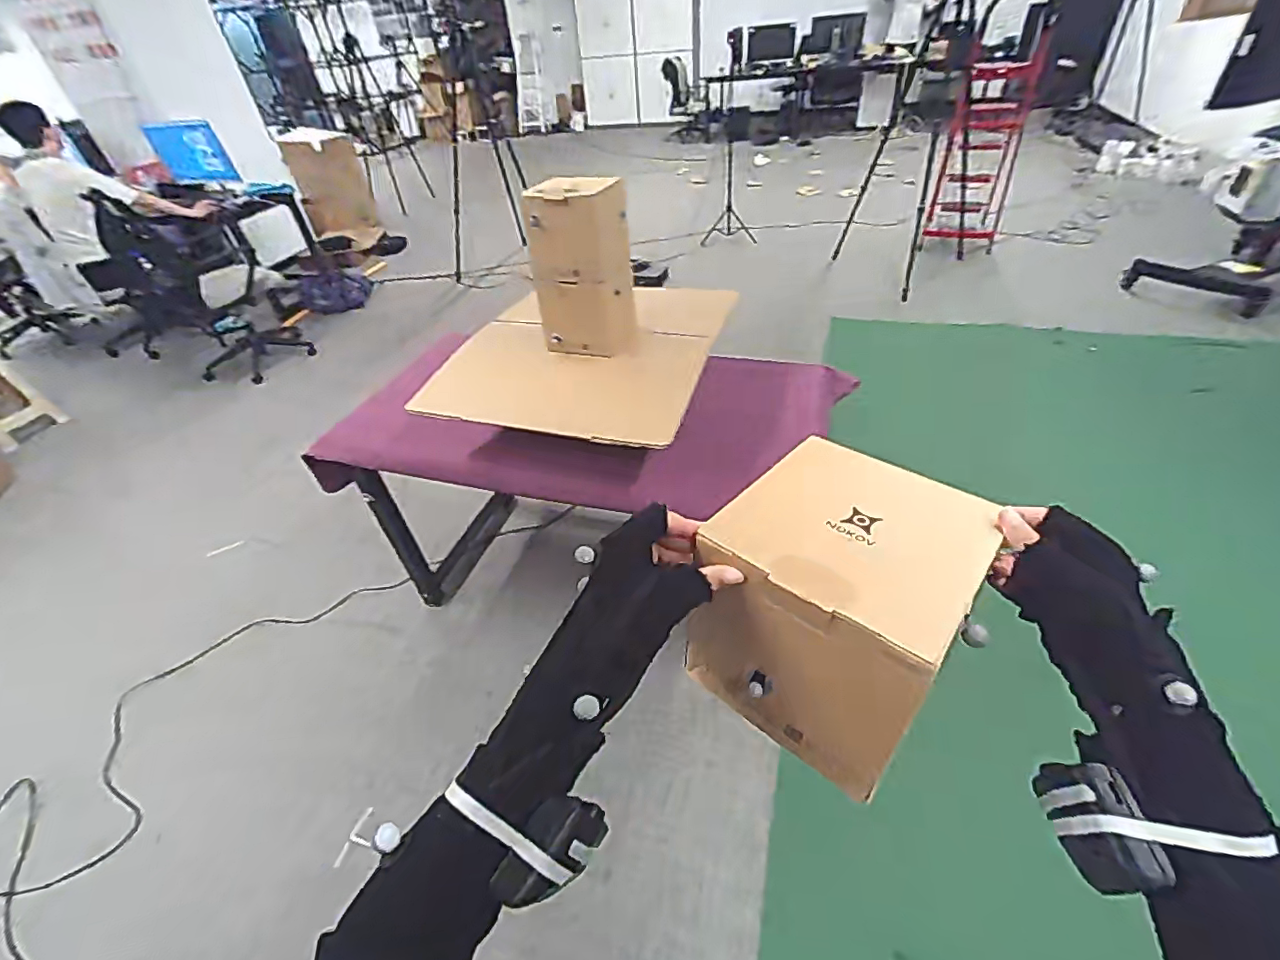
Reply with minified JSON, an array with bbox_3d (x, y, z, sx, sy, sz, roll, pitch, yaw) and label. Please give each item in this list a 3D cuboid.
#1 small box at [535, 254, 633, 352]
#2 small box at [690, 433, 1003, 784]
[{"bbox_3d":[-0.120,-0.411,1.256,0.168,0.176,0.179,8,43,15],"label":"small box"},{"bbox_3d":[0.152,0.093,0.437,0.168,0.176,0.179,27,45,32],"label":"small box"}]
